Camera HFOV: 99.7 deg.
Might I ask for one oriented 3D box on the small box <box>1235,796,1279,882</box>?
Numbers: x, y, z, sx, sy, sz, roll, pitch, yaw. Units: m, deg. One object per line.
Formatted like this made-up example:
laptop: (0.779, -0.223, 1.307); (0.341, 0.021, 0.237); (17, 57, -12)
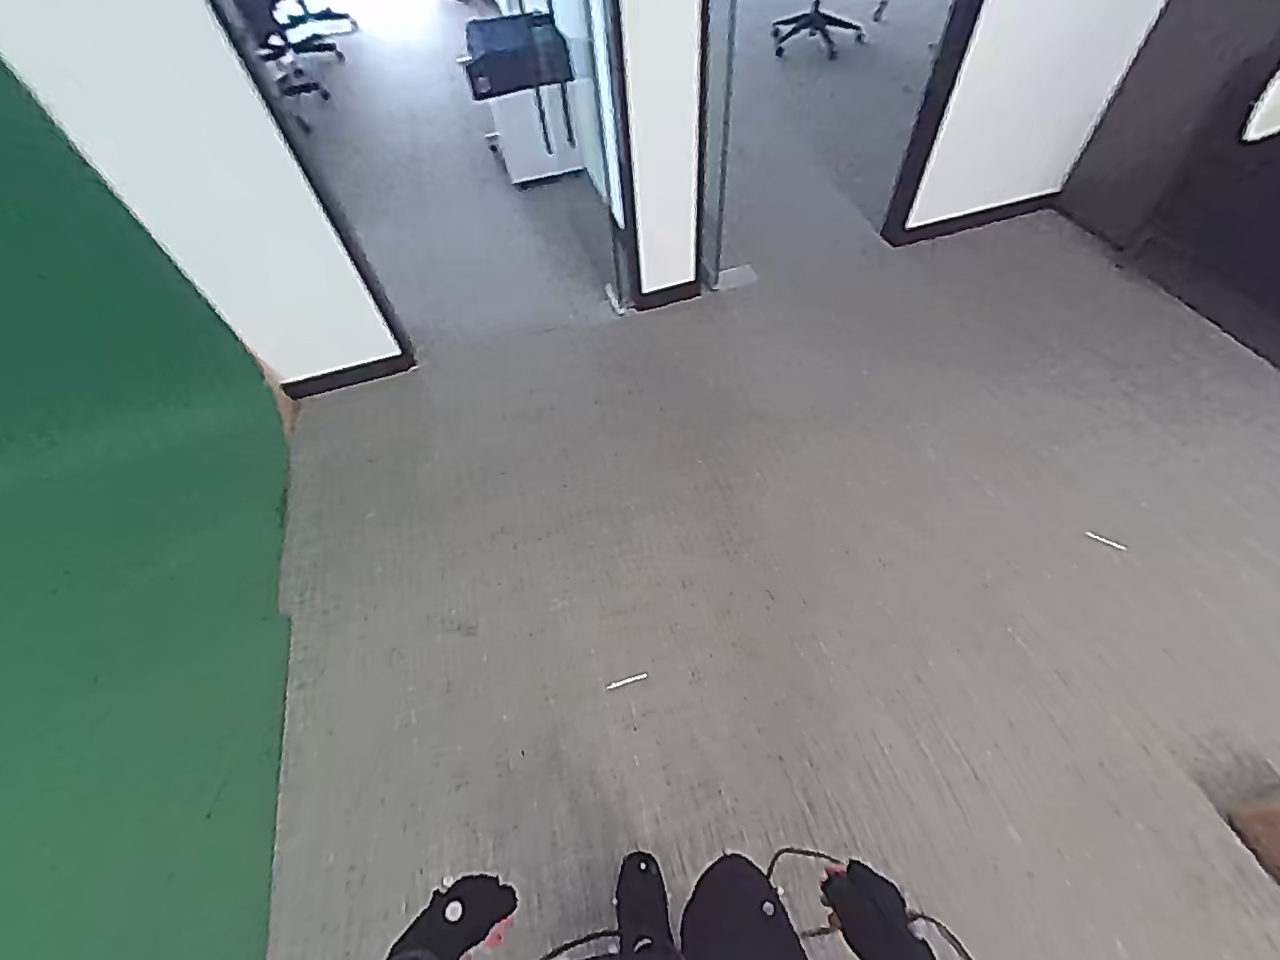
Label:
small box: (1.362, 0.716, 1.058); (0.179, 0.176, 0.168); (-16, 55, -7)
